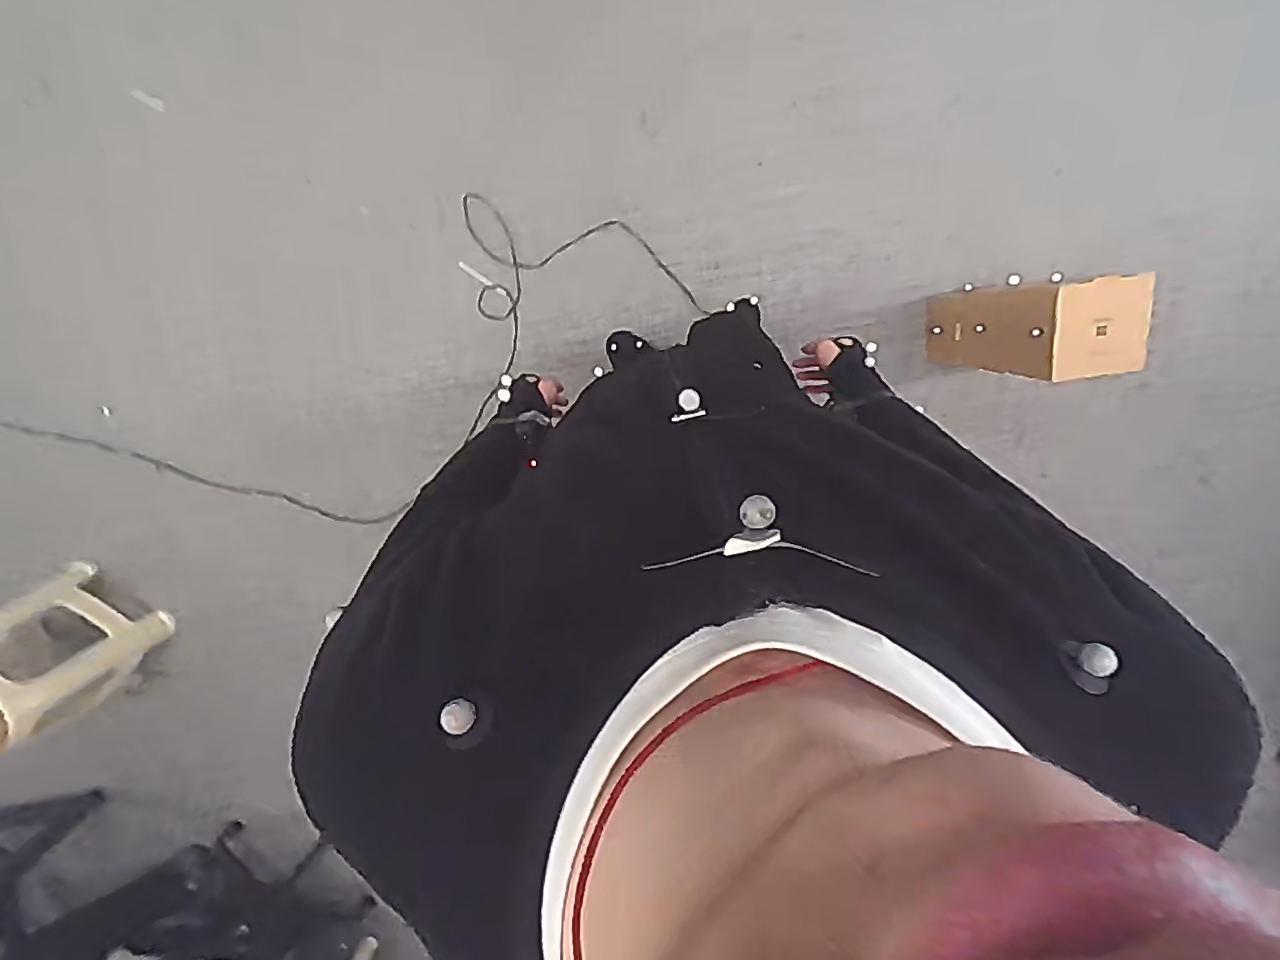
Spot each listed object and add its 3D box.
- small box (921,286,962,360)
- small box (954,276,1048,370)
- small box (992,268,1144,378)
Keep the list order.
[{"bbox_3d":[0.839,-0.406,1.378,0.179,0.176,0.168,-8,109,4],"label":"small box"},{"bbox_3d":[0.835,-0.359,1.220,0.168,0.176,0.179,-9,108,3],"label":"small box"},{"bbox_3d":[0.828,-0.311,1.066,0.168,0.176,0.179,-9,110,4],"label":"small box"}]
